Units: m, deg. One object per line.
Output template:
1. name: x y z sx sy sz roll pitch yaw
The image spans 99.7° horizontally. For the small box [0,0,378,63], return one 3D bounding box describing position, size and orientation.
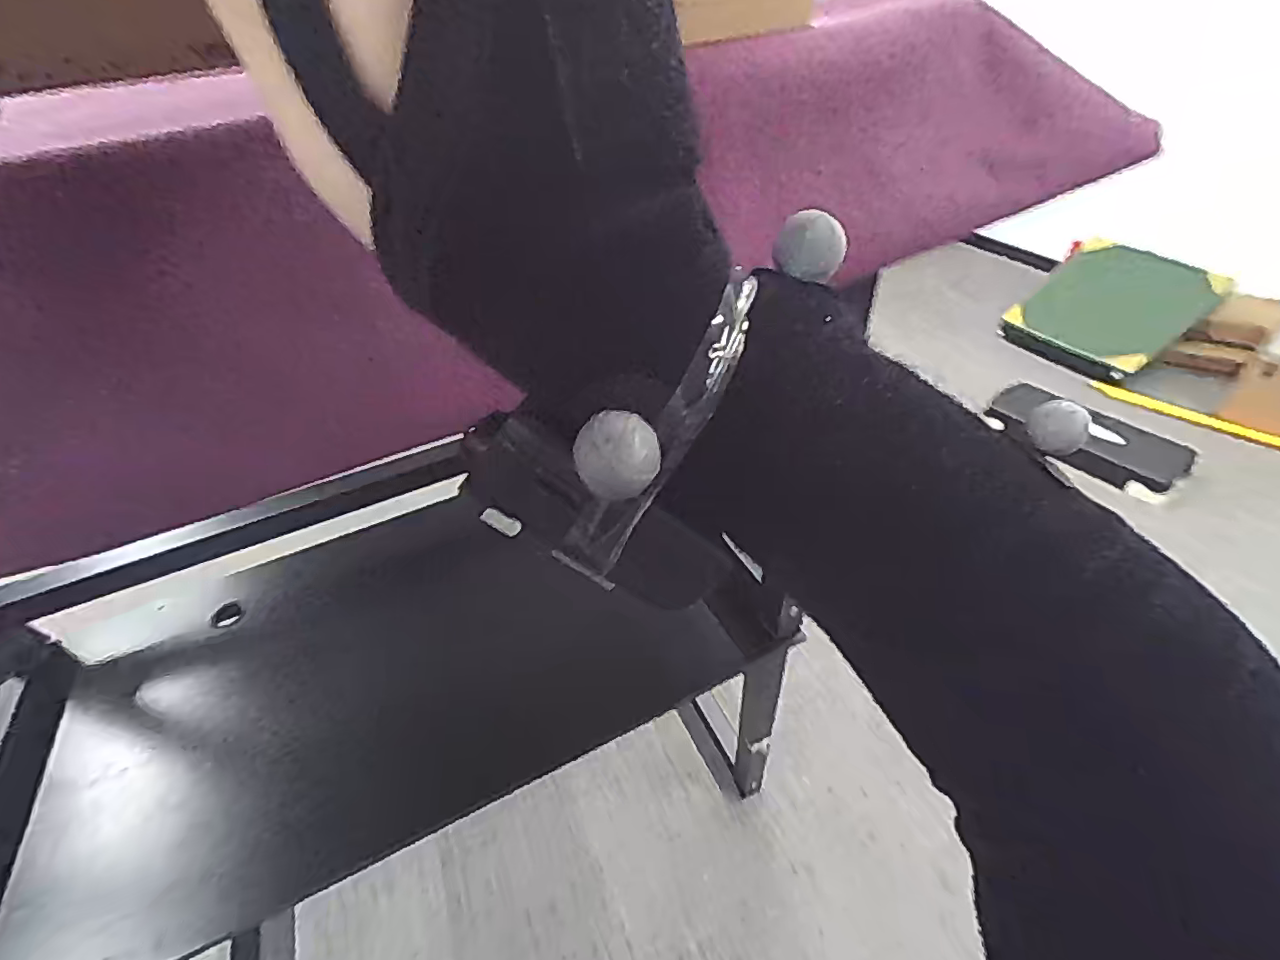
1. small box: -0.164 -0.204 0.093 0.168 0.179 0.176 -19 23 -13
